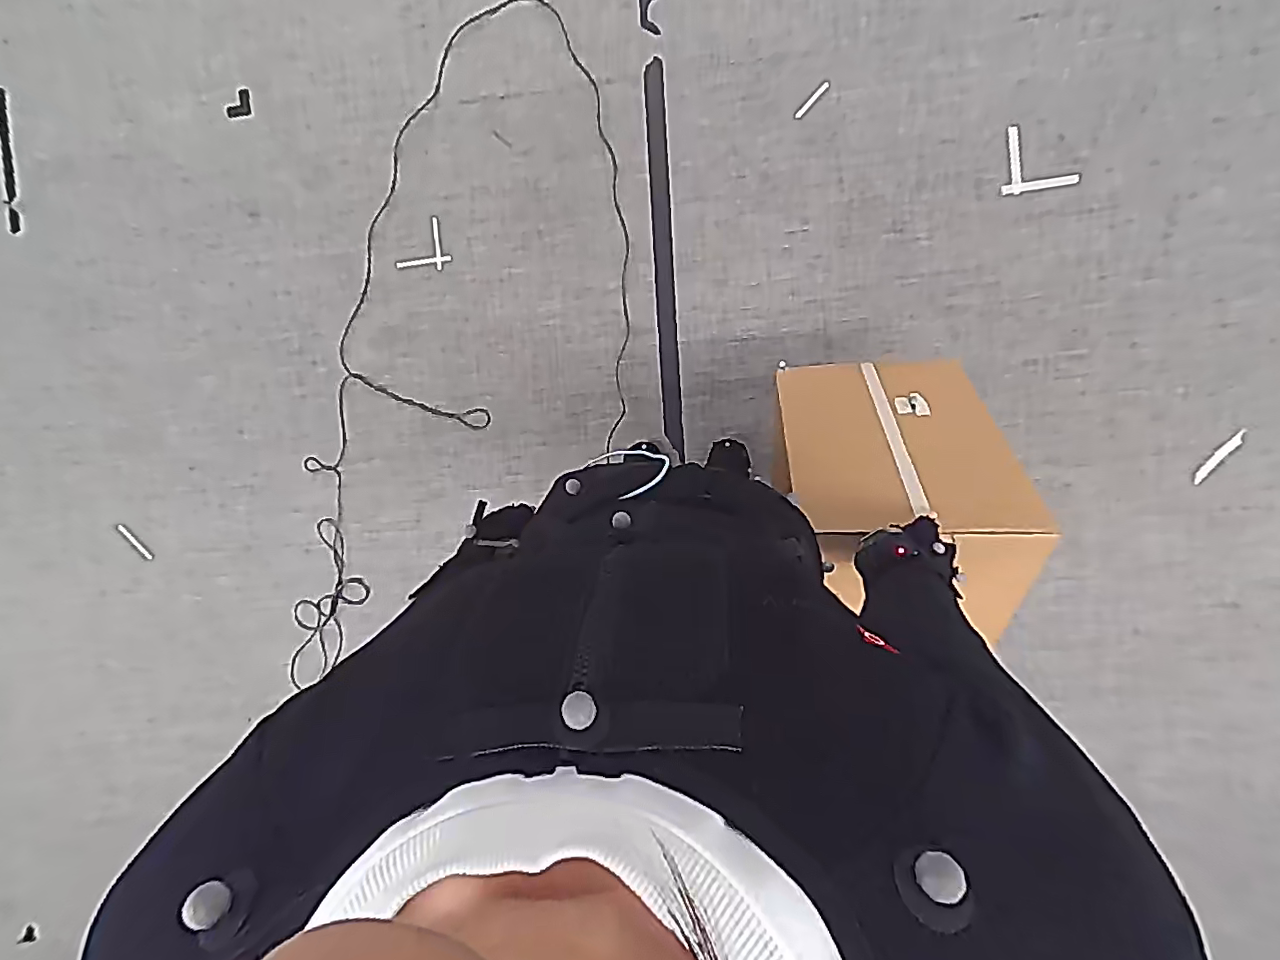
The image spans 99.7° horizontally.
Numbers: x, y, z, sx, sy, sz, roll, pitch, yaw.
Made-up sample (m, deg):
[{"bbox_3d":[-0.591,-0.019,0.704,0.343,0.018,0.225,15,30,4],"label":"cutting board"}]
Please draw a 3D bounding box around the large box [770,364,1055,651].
[{"bbox_3d":[0.405,0.041,0.939,0.320,0.408,0.320,0,132,7],"label":"large box"}]
